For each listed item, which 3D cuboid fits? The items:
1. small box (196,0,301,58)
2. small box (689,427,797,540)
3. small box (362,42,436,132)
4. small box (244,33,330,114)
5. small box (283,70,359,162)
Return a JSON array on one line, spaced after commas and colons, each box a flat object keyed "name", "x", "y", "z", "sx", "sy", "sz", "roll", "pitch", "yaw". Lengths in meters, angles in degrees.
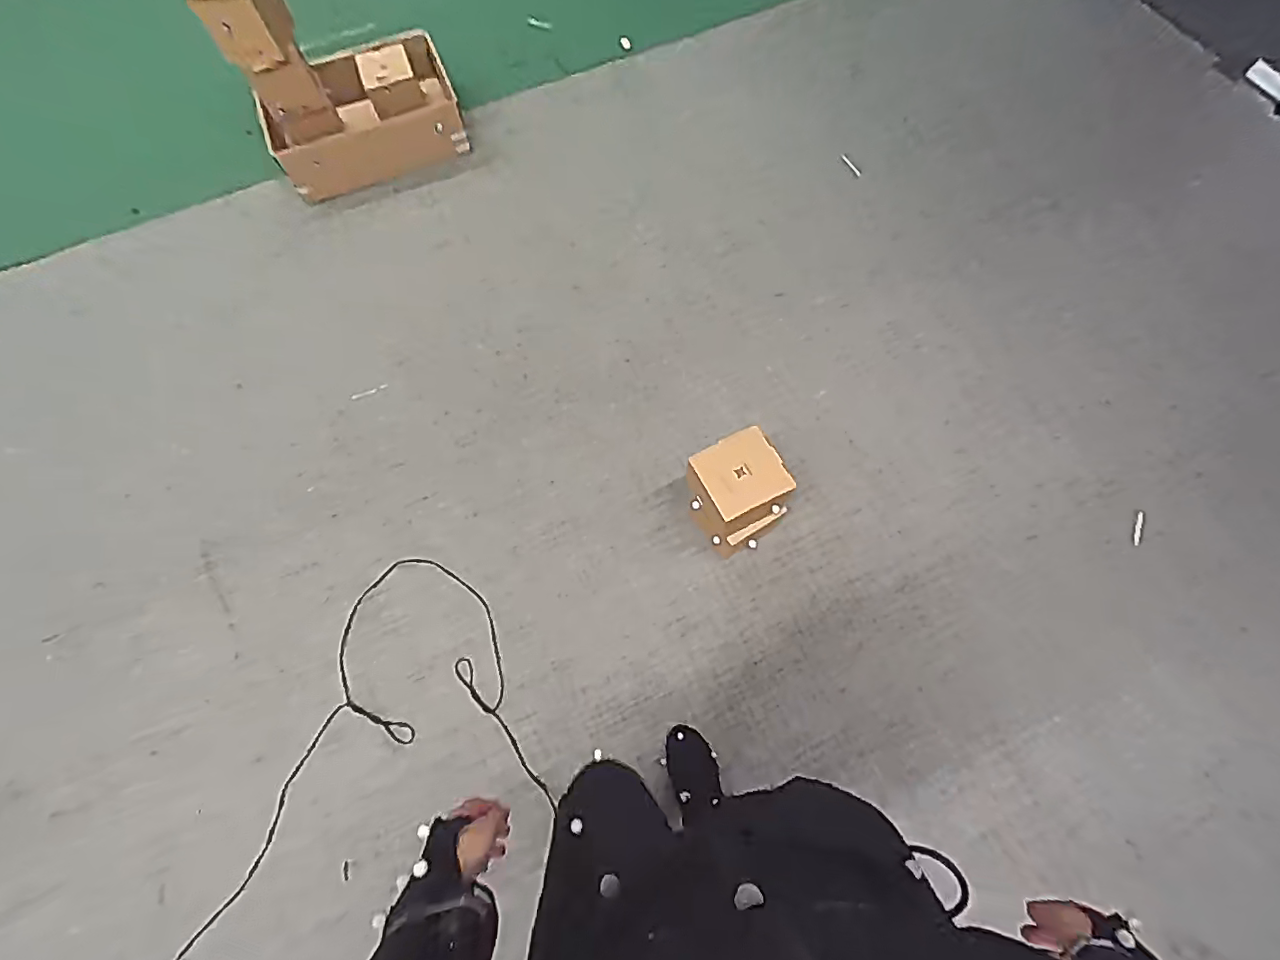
[{"name": "small box", "x": -1.088, "y": -1.319, "z": 1.512, "sx": 0.168, "sy": 0.176, "sz": 0.179, "roll": -2, "pitch": 69, "yaw": 0}, {"name": "small box", "x": 0.223, "y": 0.013, "z": 1.227, "sx": 0.179, "sy": 0.176, "sz": 0.168, "roll": -26, "pitch": 70, "yaw": -7}, {"name": "small box", "x": -0.829, "y": -1.354, "z": 1.869, "sx": 0.168, "sy": 0.176, "sz": 0.179, "roll": -19, "pitch": 71, "yaw": -5}, {"name": "small box", "x": -1.091, "y": -1.269, "z": 1.667, "sx": 0.168, "sy": 0.176, "sz": 0.179, "roll": -23, "pitch": 71, "yaw": -8}, {"name": "small box", "x": -1.087, "y": -1.224, "z": 1.825, "sx": 0.168, "sy": 0.176, "sz": 0.179, "roll": -25, "pitch": 72, "yaw": -7}]
